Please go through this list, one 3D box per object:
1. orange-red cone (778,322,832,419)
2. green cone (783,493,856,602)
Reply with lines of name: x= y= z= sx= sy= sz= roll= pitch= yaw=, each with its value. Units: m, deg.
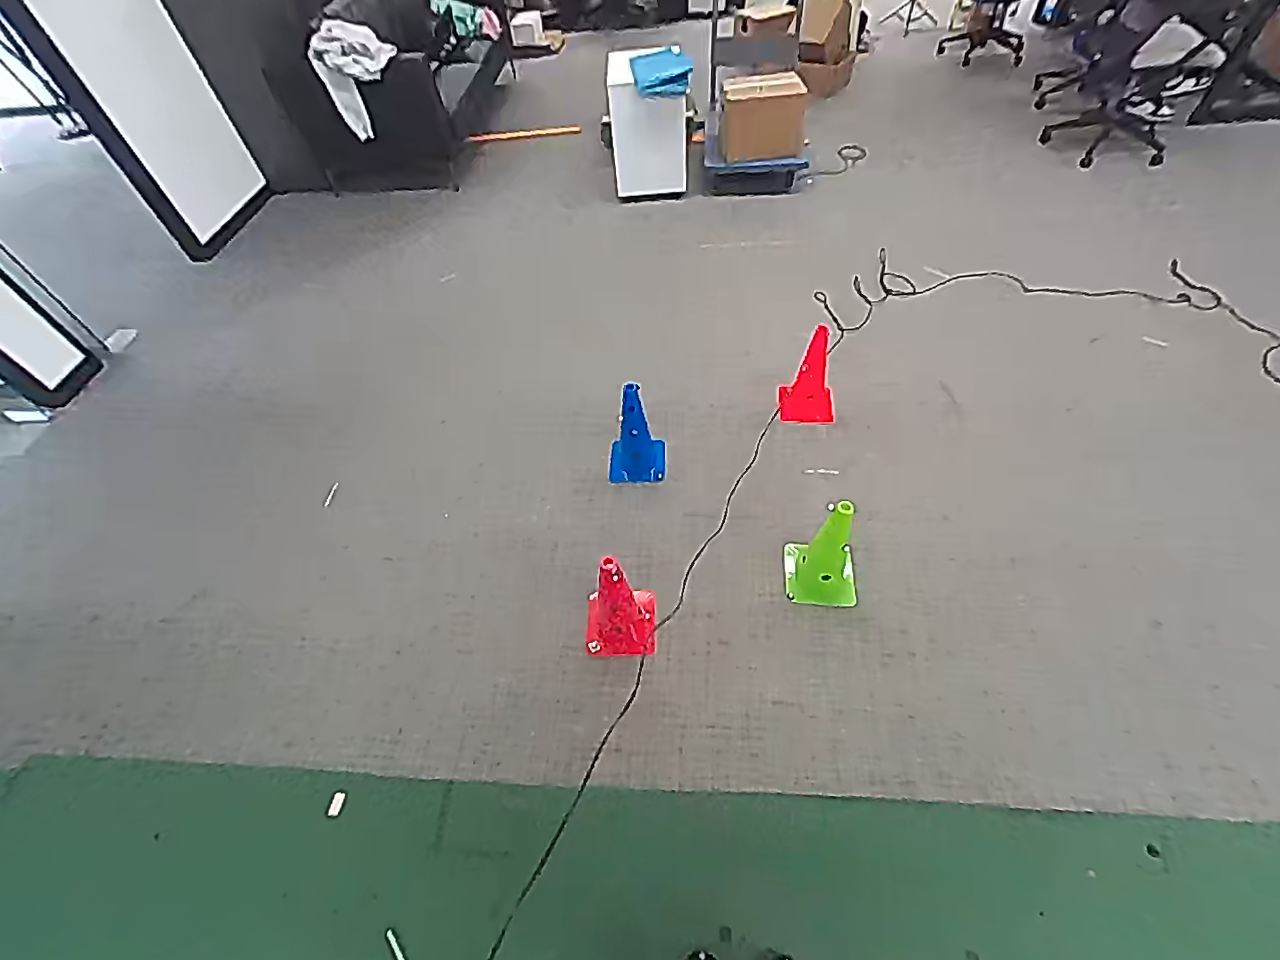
orange-red cone: x=0.617 y=-0.409 z=1.943 sx=0.198 sy=0.360 sz=0.199 roll=3 pitch=54 yaw=9
green cone: x=0.529 y=0.165 z=1.498 sx=0.200 sy=0.368 sz=0.202 roll=2 pitch=51 yaw=6
